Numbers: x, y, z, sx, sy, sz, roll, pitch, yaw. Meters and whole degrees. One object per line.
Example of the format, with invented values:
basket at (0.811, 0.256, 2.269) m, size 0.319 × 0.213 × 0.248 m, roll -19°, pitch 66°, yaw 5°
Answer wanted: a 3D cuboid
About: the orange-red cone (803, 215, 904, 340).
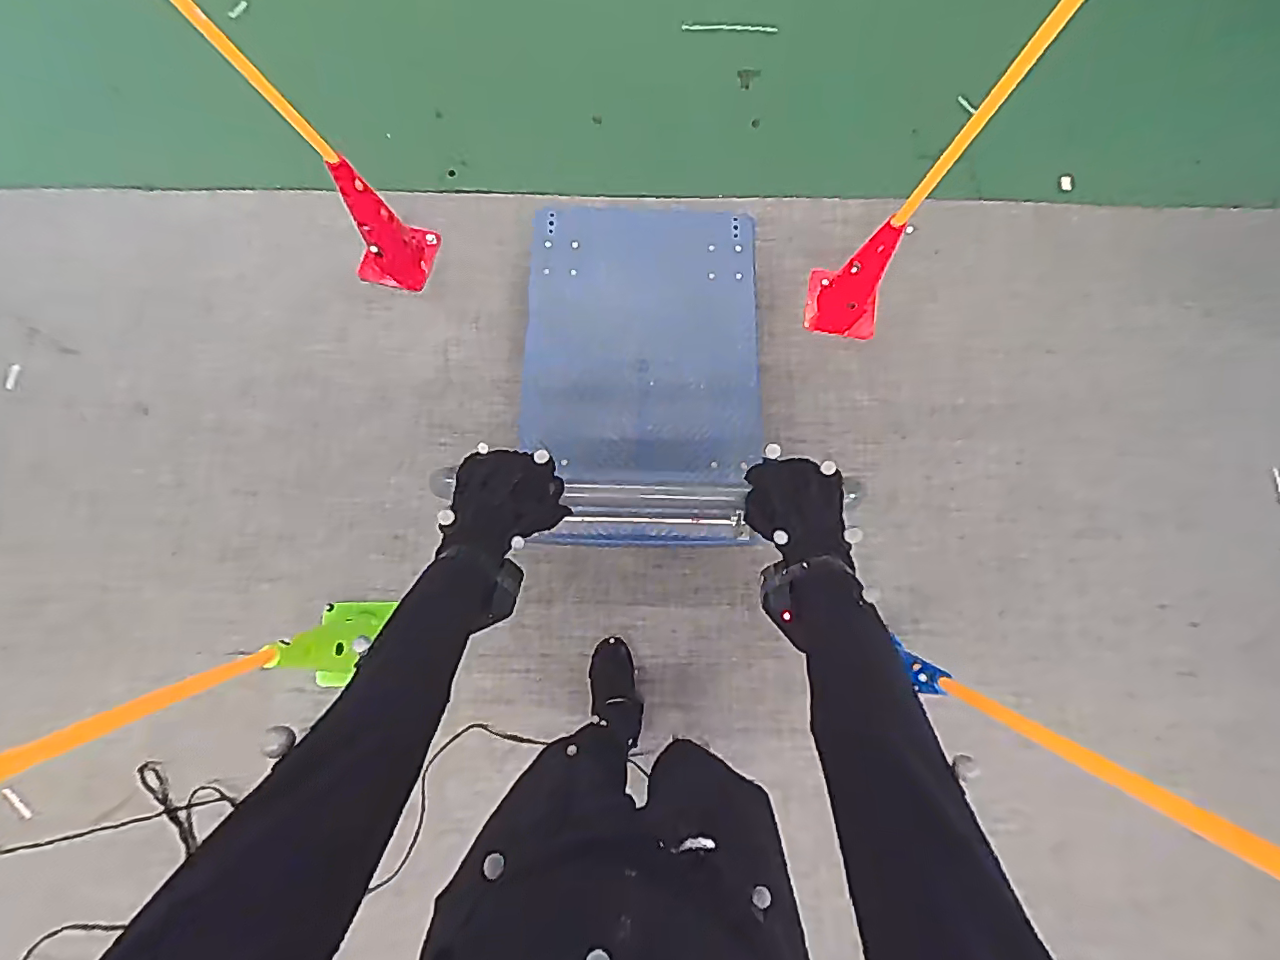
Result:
orange-red cone at (0.580, -0.543, 1.392) m, size 0.198 × 0.360 × 0.199 m, roll 12°, pitch 78°, yaw 3°
